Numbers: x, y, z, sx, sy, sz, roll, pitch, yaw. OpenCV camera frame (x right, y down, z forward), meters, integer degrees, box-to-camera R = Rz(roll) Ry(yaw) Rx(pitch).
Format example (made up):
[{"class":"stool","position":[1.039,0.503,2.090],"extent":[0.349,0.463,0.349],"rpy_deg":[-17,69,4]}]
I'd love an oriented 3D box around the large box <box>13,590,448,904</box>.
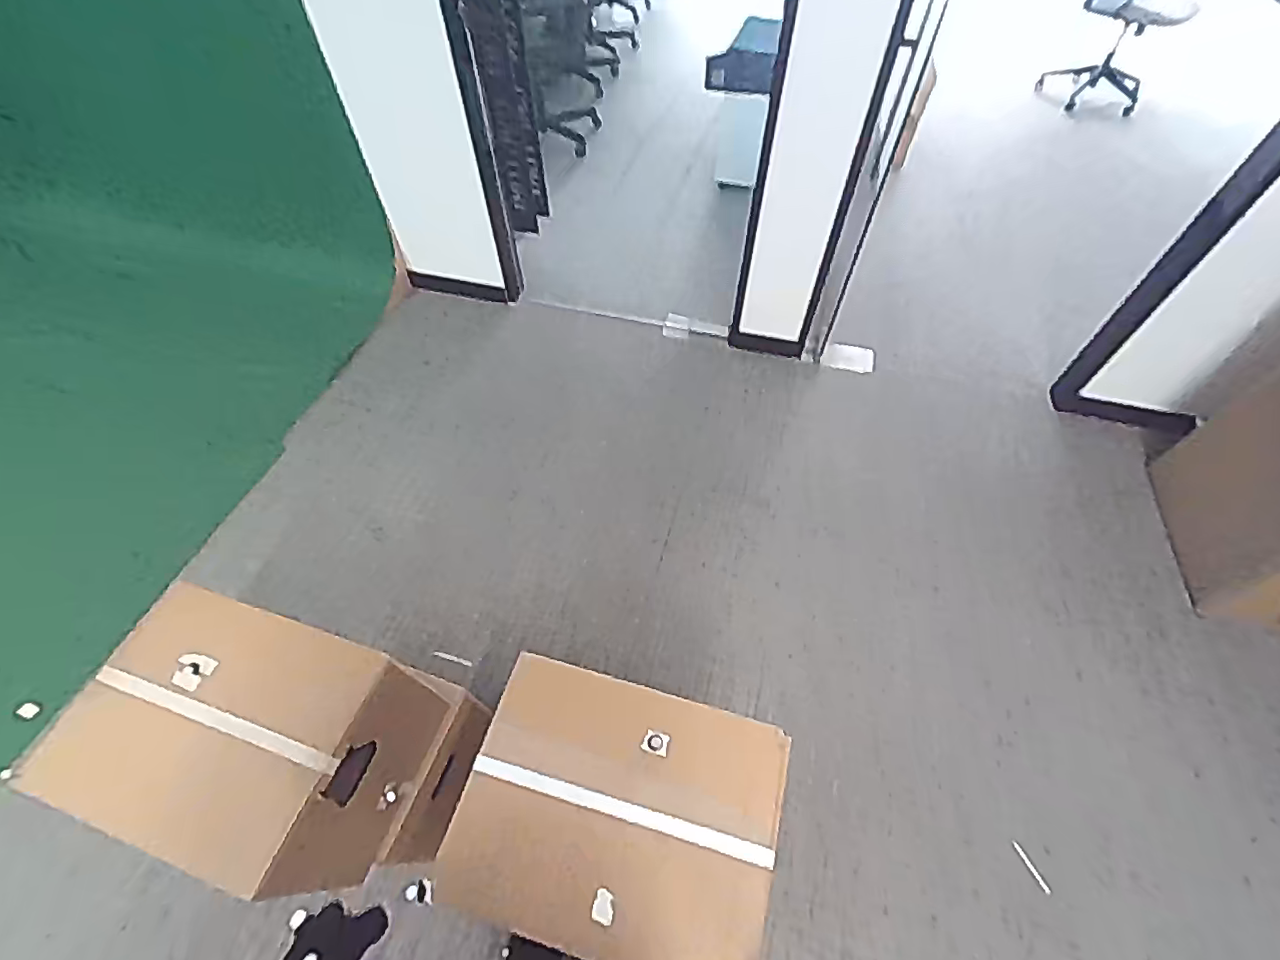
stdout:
[{"class":"large box","position":[-0.605,0.428,0.890],"extent":[0.408,0.320,0.320],"rpy_deg":[15,57,11]}]
